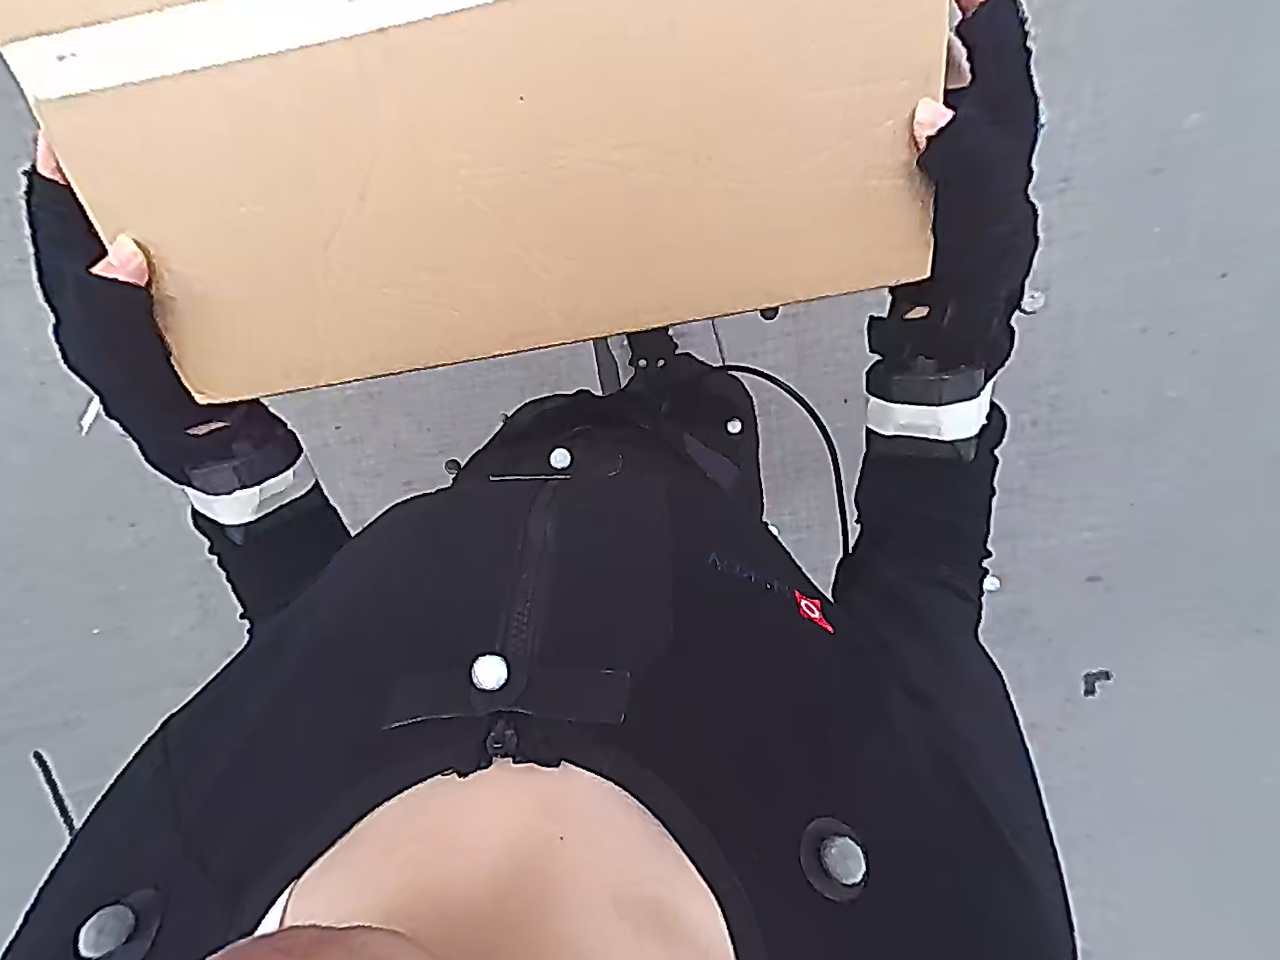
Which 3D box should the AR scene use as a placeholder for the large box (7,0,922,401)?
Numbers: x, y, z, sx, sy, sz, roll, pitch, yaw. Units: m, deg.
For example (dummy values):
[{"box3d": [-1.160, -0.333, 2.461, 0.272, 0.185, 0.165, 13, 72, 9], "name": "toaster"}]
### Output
[{"box3d": [-0.075, -0.280, 0.371, 0.408, 0.320, 0.320, -9, 115, 5], "name": "large box"}]
